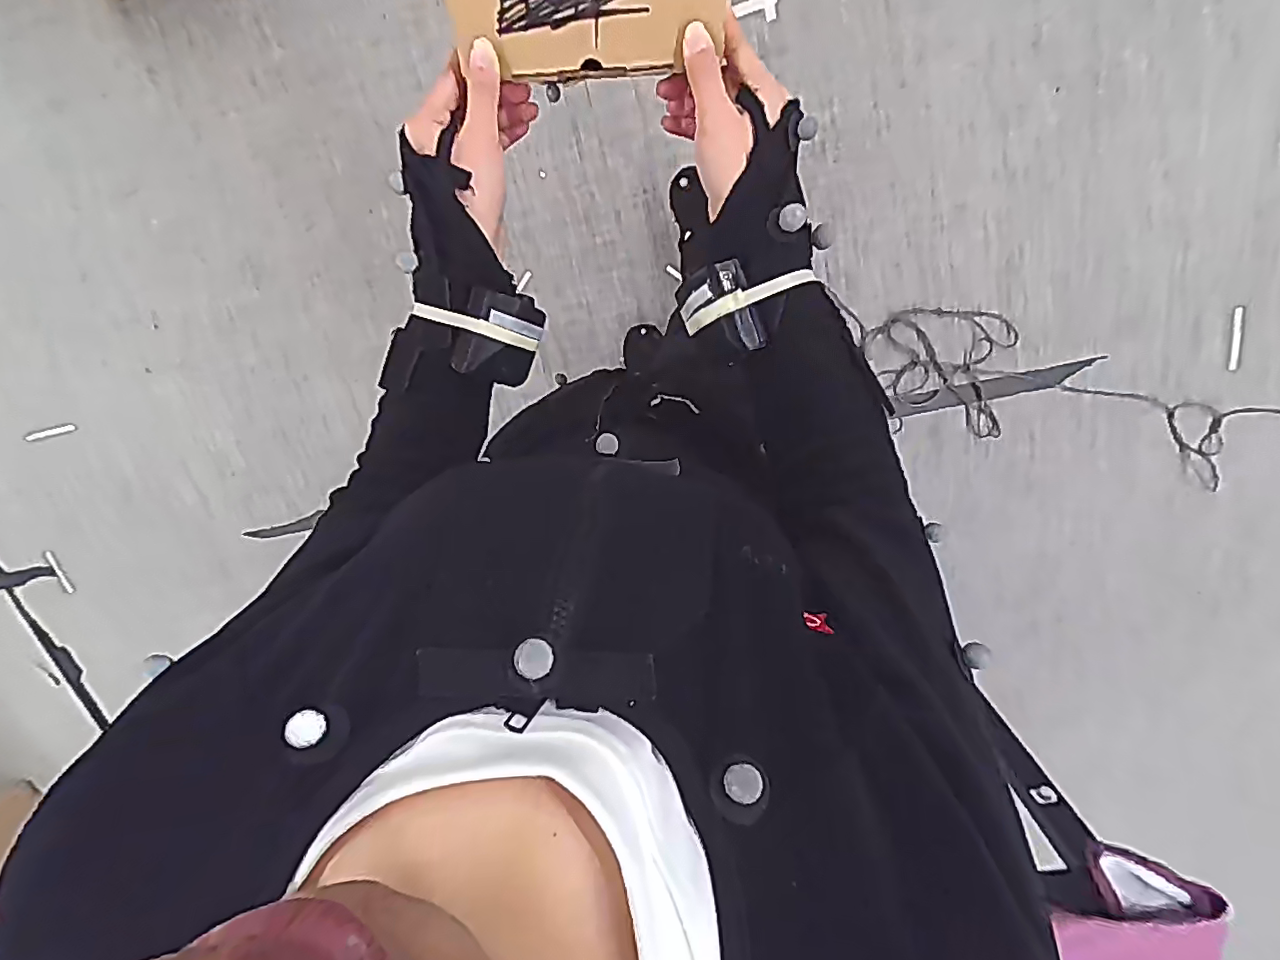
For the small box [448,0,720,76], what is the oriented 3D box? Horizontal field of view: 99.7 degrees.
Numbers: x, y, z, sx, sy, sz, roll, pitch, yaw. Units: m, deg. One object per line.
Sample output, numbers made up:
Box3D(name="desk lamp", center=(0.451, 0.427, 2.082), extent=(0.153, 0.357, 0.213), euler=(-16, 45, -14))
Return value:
Box3D(name="small box", center=(-0.030, -0.375, 0.350), extent=(0.168, 0.176, 0.179), euler=(0, 125, 4))
